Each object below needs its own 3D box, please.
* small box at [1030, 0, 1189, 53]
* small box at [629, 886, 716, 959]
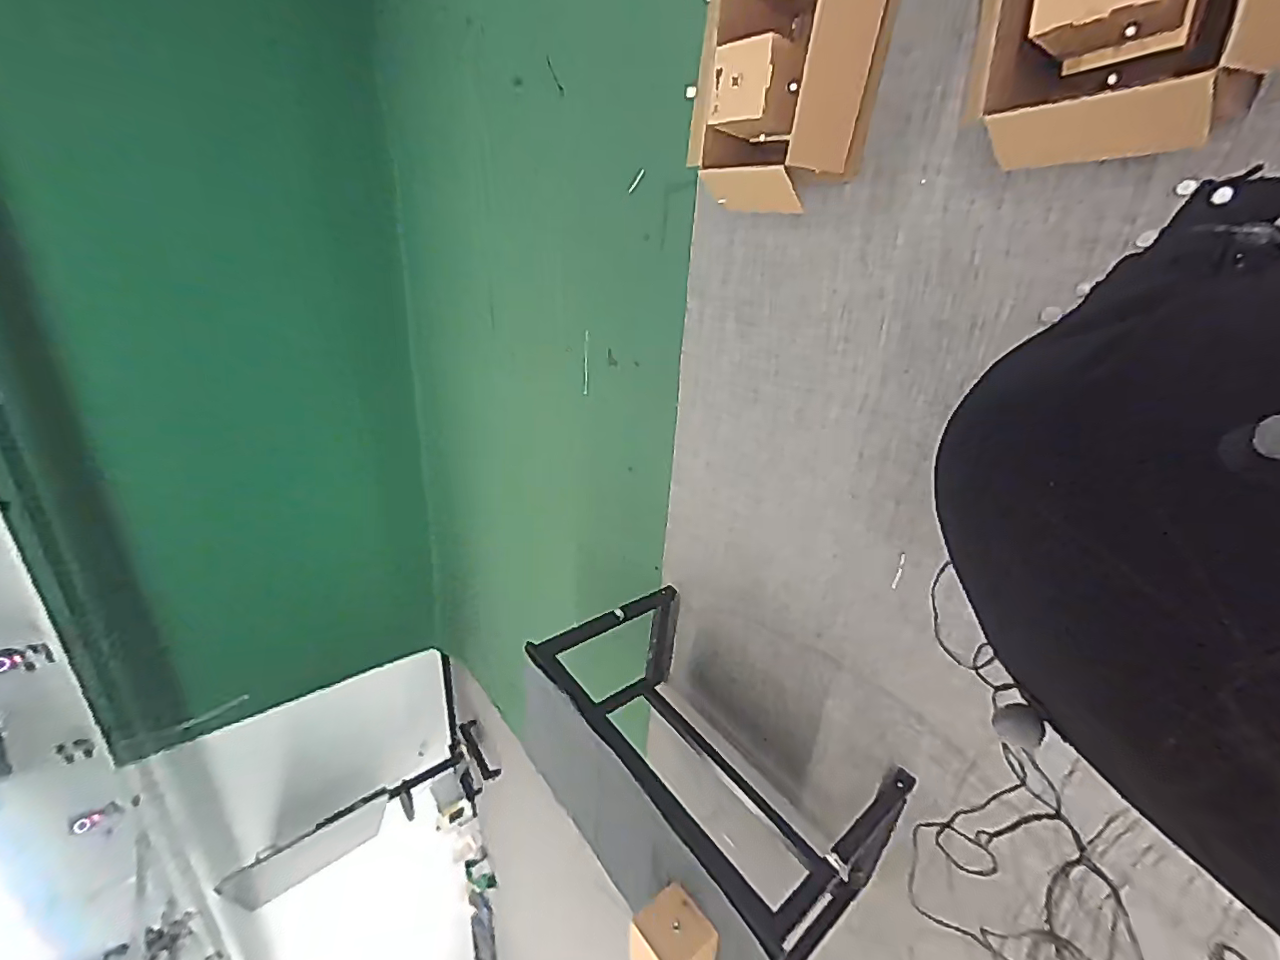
[{"bbox_3d":[0.744,-0.796,0.836,0.168,0.176,0.179,21,119,46],"label":"small box"},{"bbox_3d":[0.088,1.256,1.452,0.168,0.176,0.179,26,122,46],"label":"small box"}]
